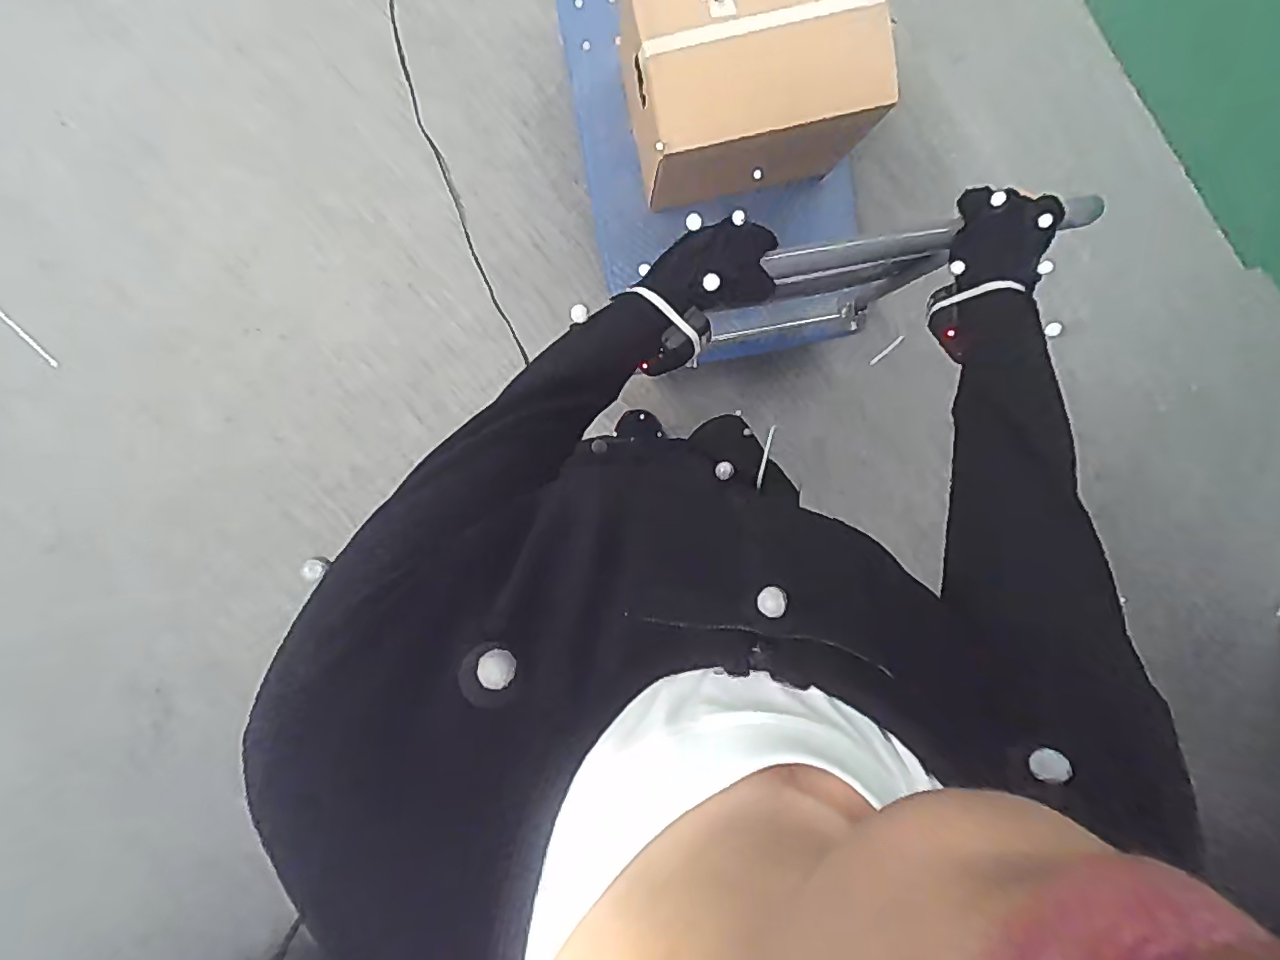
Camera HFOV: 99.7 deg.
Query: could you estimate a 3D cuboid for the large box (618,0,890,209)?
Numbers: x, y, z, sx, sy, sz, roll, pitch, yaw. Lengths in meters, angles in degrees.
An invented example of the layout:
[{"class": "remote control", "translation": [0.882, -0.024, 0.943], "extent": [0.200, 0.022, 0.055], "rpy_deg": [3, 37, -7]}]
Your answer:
[{"class": "large box", "translation": [0.188, -0.760, 1.023], "extent": [0.408, 0.320, 0.320], "rpy_deg": [-13, 99, 0]}]
